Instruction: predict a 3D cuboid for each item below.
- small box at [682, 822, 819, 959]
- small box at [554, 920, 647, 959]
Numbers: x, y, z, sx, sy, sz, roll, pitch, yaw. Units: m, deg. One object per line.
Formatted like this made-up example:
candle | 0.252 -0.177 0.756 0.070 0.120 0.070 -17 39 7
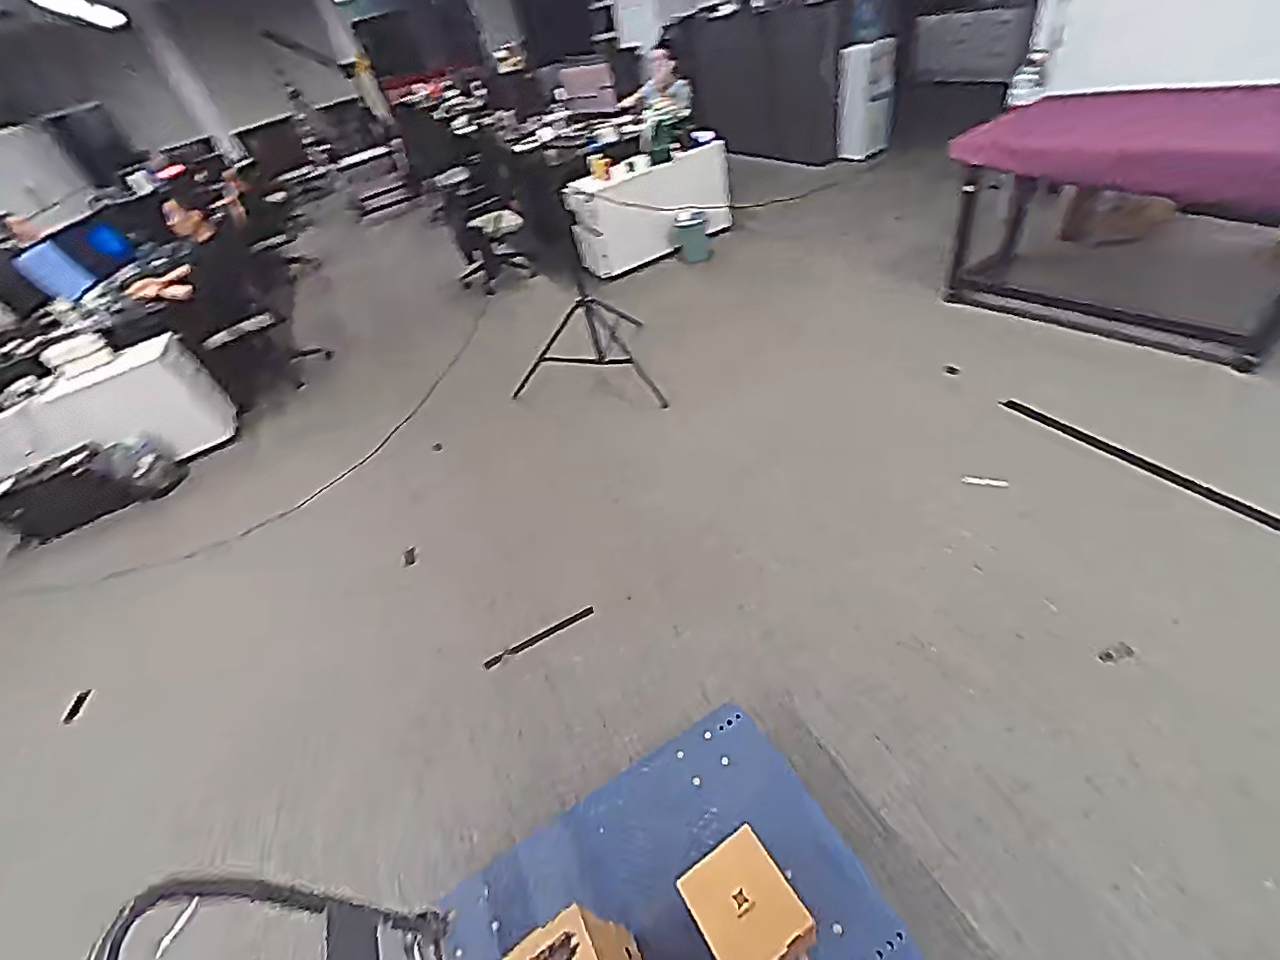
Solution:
small box | 0.199 0.772 0.976 0.168 0.176 0.179 -31 44 -15
small box | -0.058 0.902 0.915 0.168 0.176 0.179 -27 43 -11
